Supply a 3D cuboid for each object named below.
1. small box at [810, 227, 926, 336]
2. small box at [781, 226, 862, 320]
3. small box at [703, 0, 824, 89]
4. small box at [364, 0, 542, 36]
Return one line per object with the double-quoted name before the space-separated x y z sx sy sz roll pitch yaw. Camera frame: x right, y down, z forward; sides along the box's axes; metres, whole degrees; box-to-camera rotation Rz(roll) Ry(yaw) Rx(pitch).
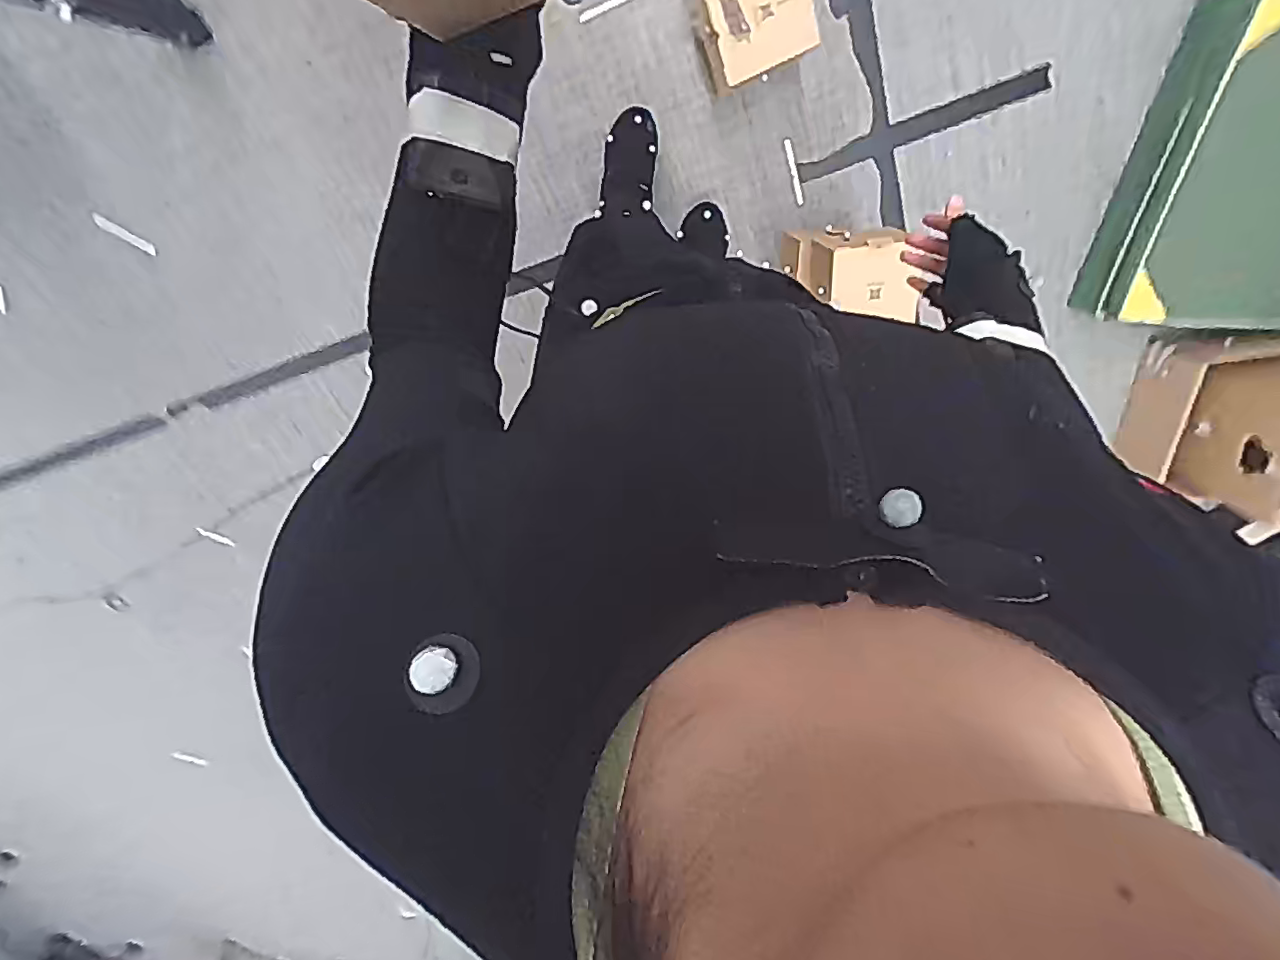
"small box" 0.449 -0.407 1.097 0.168 0.176 0.179 -4 122 5
"small box" 0.428 -0.482 1.245 0.168 0.176 0.179 -3 122 3
"small box" 0.224 -0.871 1.018 0.179 0.176 0.168 -19 118 11
"small box" -0.069 -0.288 0.180 0.168 0.176 0.179 -12 123 8
